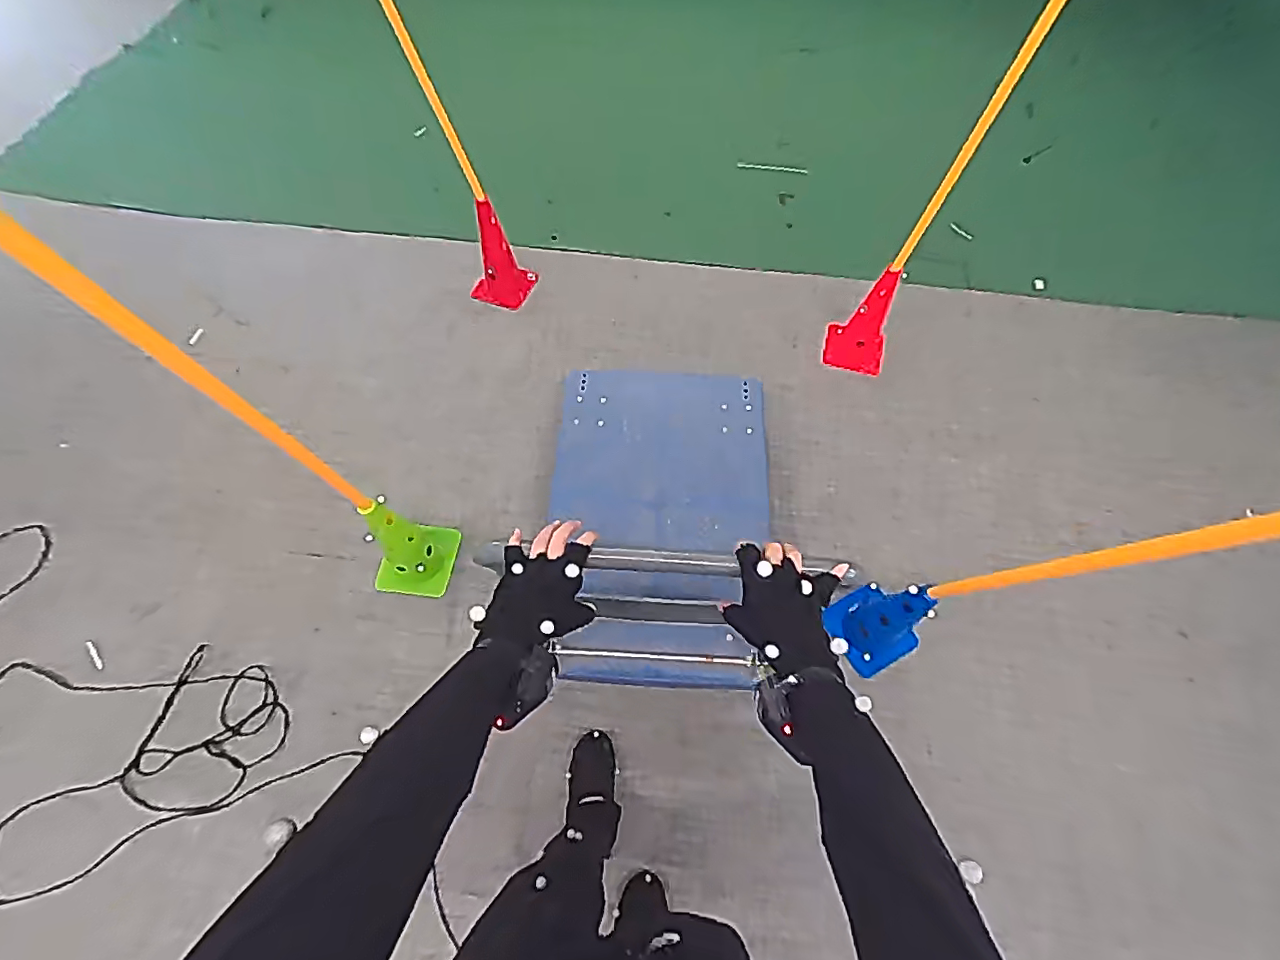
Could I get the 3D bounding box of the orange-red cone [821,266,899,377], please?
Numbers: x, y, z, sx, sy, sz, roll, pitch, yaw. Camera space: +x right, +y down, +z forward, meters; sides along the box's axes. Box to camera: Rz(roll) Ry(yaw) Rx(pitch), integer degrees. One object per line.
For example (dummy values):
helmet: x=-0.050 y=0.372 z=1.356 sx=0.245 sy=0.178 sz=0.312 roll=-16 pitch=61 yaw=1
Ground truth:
orange-red cone: x=0.745 y=-0.531 z=1.741 sx=0.198 sy=0.360 sz=0.199 roll=17 pitch=64 yaw=9
